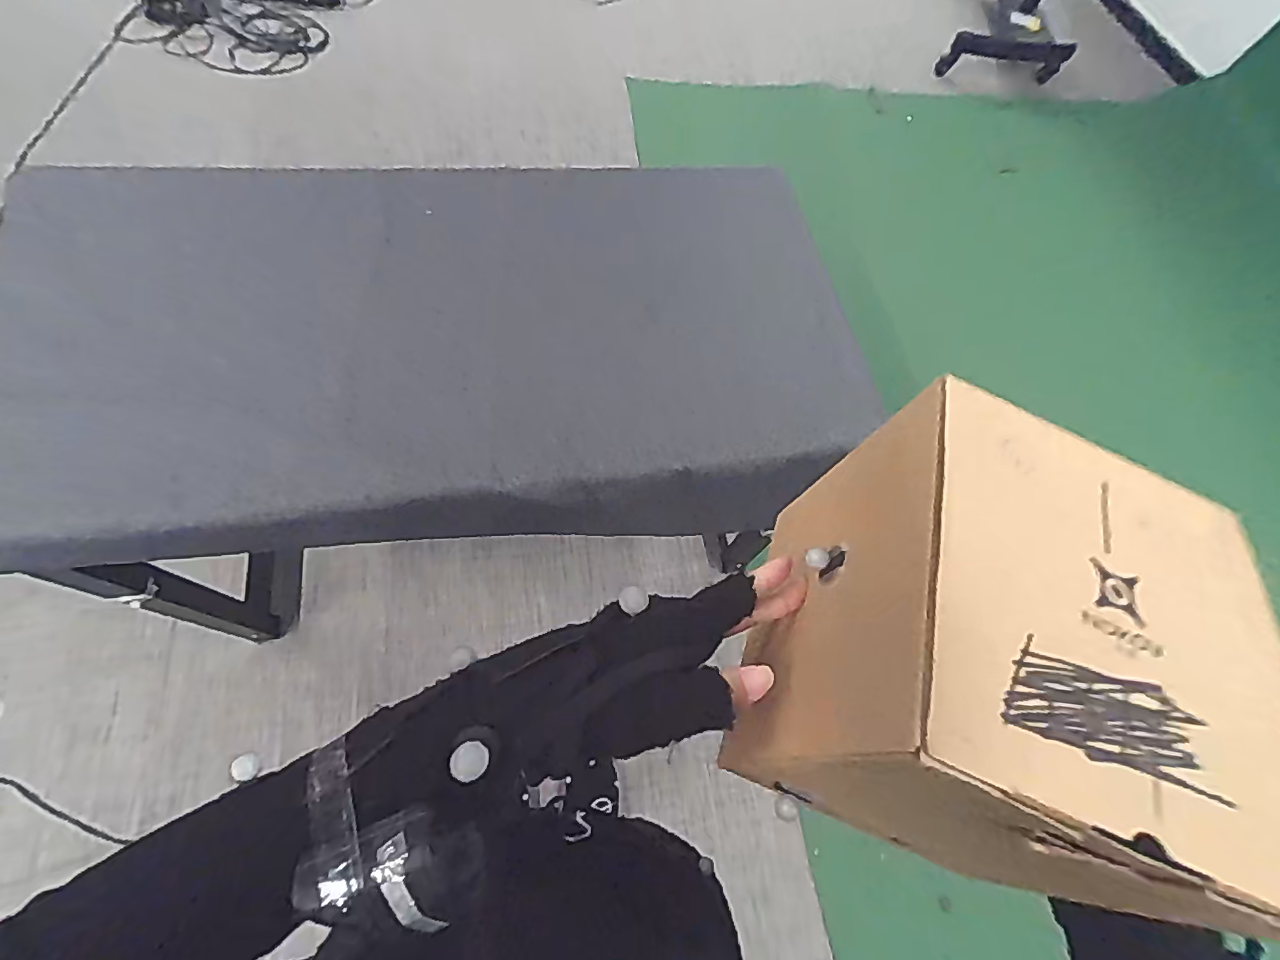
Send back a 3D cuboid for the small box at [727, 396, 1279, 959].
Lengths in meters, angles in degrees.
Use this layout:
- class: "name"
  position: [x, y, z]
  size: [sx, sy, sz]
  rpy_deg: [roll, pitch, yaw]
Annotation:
- class: "small box"
  position: [0.163, 0.097, 0.288]
  size: [0.168, 0.176, 0.179]
  rpy_deg: [26, 58, -2]
